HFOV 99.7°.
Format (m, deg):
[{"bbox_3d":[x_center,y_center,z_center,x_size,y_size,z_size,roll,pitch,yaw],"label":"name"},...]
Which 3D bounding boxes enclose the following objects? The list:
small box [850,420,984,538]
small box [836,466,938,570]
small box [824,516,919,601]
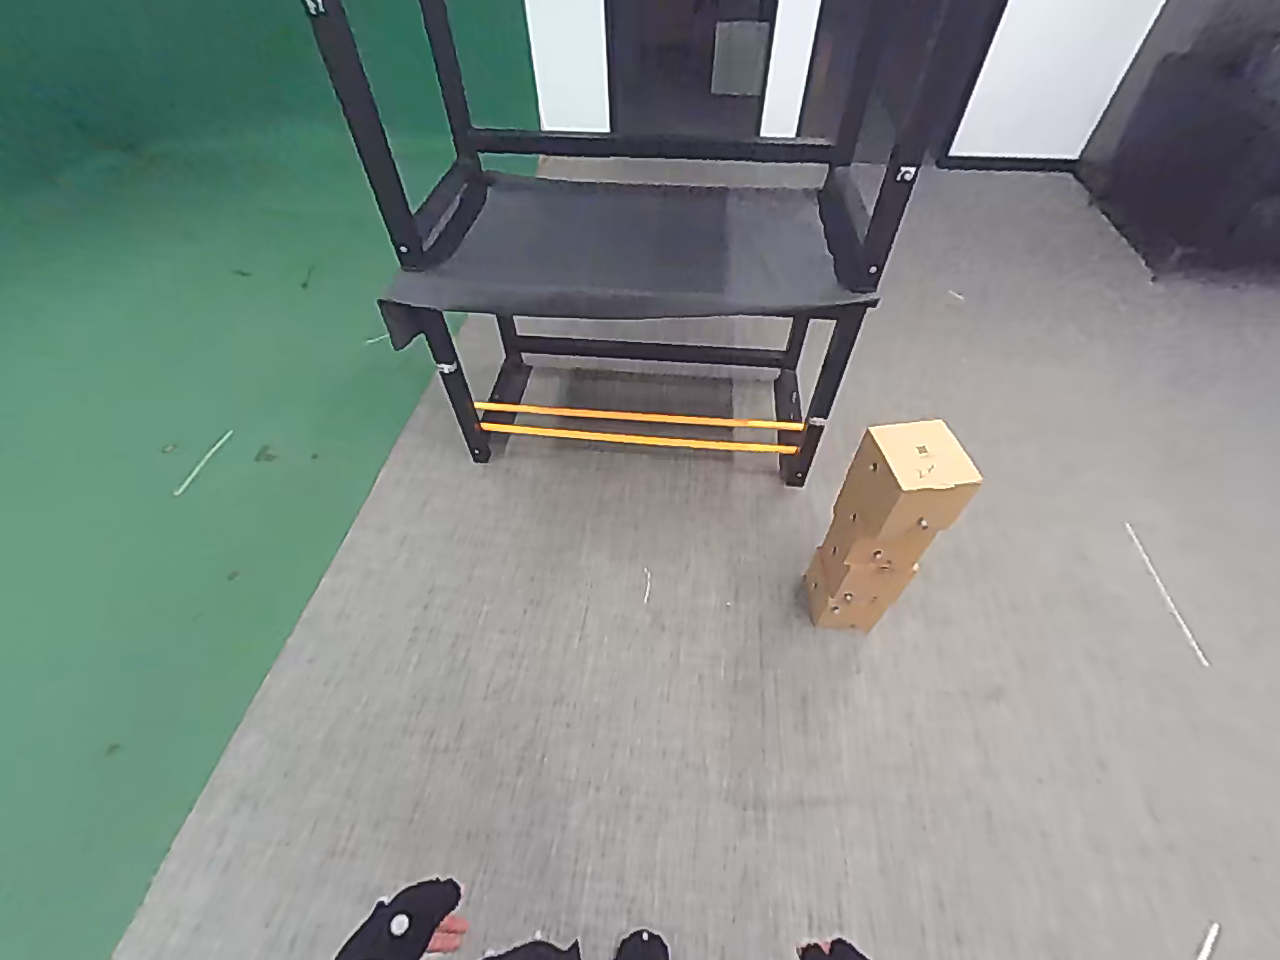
[{"bbox_3d":[0.567,-0.001,1.139,0.168,0.176,0.179,-6,51,-3],"label":"small box"},{"bbox_3d":[0.572,0.089,1.276,0.168,0.176,0.179,4,51,5],"label":"small box"},{"bbox_3d":[0.588,0.198,1.396,0.168,0.176,0.179,2,50,3],"label":"small box"}]
